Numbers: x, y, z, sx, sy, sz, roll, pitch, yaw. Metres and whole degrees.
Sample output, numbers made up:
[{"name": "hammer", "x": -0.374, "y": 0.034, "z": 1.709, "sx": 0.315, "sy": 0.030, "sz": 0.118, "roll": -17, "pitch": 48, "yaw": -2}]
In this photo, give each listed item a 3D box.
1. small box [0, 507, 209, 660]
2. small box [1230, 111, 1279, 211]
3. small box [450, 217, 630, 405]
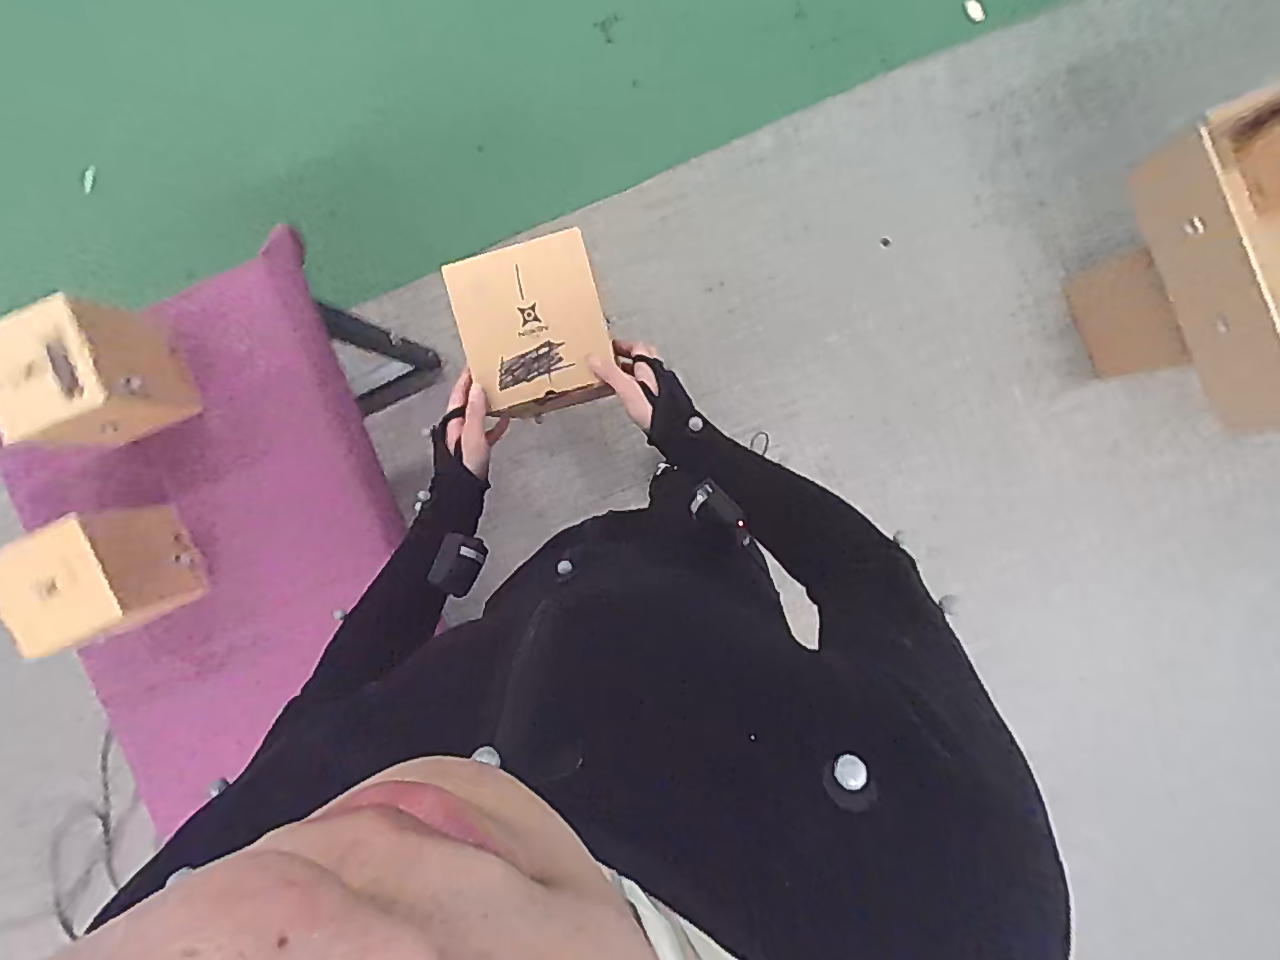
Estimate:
[{"name": "small box", "x": -0.861, "y": 0.155, "z": 0.868, "sx": 0.179, "sy": 0.176, "sz": 0.168, "roll": -24, "pitch": 92, "yaw": 3}, {"name": "small box", "x": 1.314, "y": -0.651, "z": 1.030, "sx": 0.179, "sy": 0.176, "sz": 0.168, "roll": -20, "pitch": 91, "yaw": 4}, {"name": "small box", "x": -0.111, "y": -0.195, "z": 0.683, "sx": 0.168, "sy": 0.176, "sz": 0.179, "roll": -13, "pitch": 93, "yaw": 3}]
